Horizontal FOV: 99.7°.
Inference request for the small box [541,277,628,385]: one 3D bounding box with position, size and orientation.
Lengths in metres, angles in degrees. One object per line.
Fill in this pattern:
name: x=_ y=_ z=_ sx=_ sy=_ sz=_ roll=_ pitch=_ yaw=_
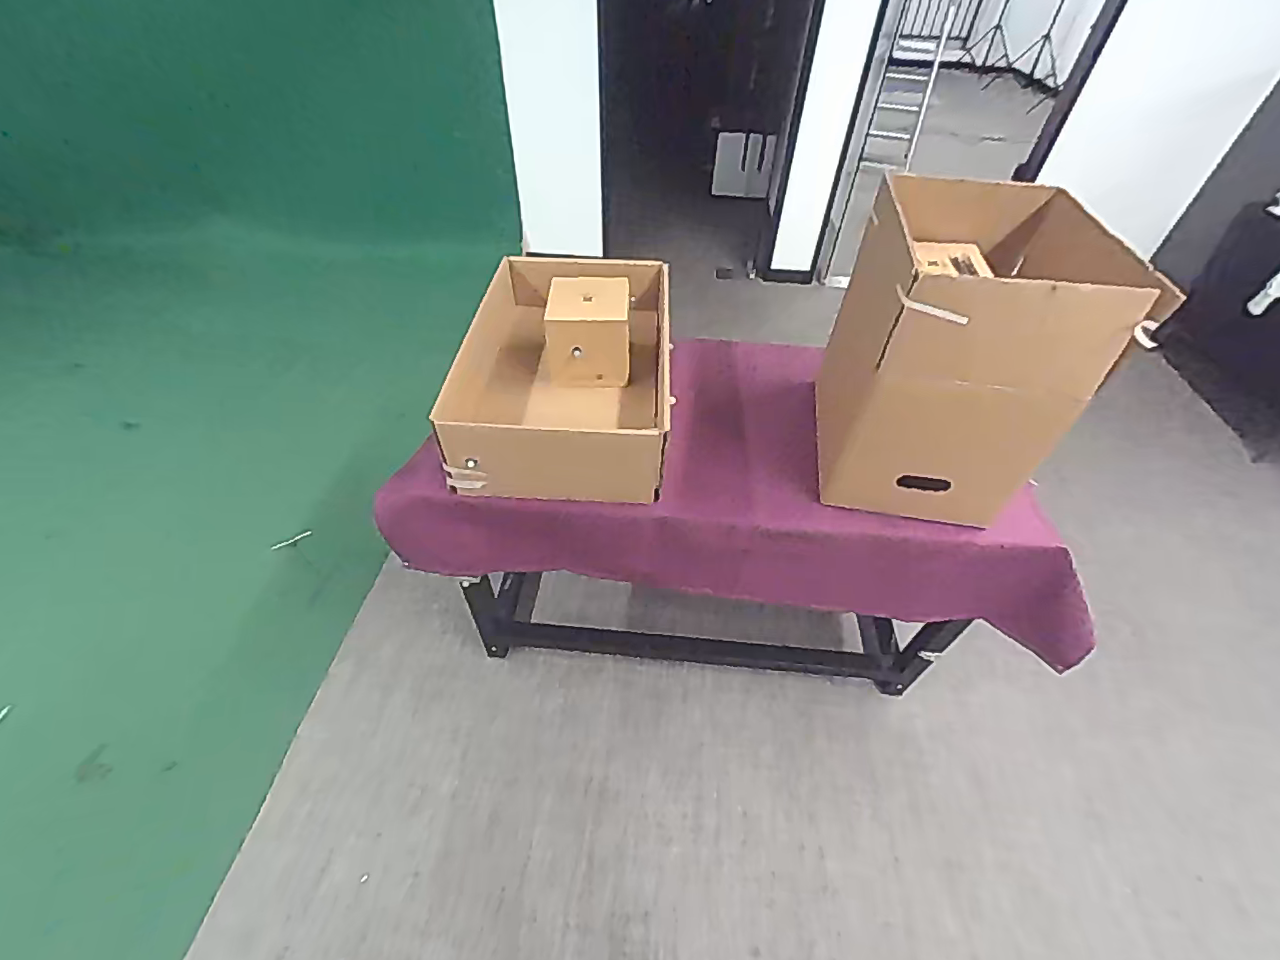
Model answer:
small box: x=-0.111 y=-0.320 z=1.171 sx=0.168 sy=0.176 sz=0.179 roll=0 pitch=47 yaw=0
